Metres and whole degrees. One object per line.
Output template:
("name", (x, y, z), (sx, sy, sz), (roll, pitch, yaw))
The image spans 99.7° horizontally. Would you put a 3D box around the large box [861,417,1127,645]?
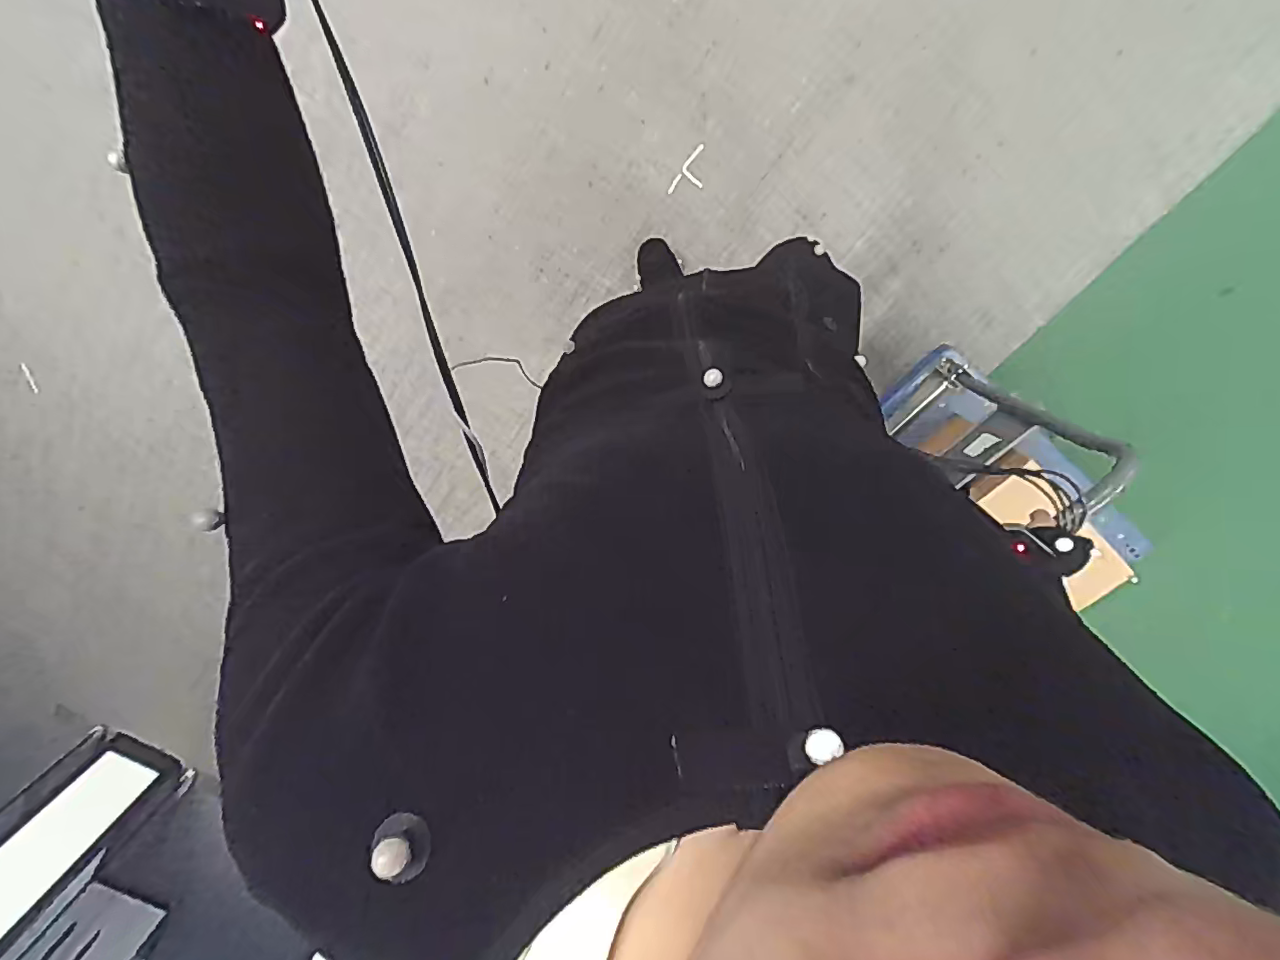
("large box", (0.833, 0.114, 1.328), (0.408, 0.320, 0.320), (40, 111, -14))
